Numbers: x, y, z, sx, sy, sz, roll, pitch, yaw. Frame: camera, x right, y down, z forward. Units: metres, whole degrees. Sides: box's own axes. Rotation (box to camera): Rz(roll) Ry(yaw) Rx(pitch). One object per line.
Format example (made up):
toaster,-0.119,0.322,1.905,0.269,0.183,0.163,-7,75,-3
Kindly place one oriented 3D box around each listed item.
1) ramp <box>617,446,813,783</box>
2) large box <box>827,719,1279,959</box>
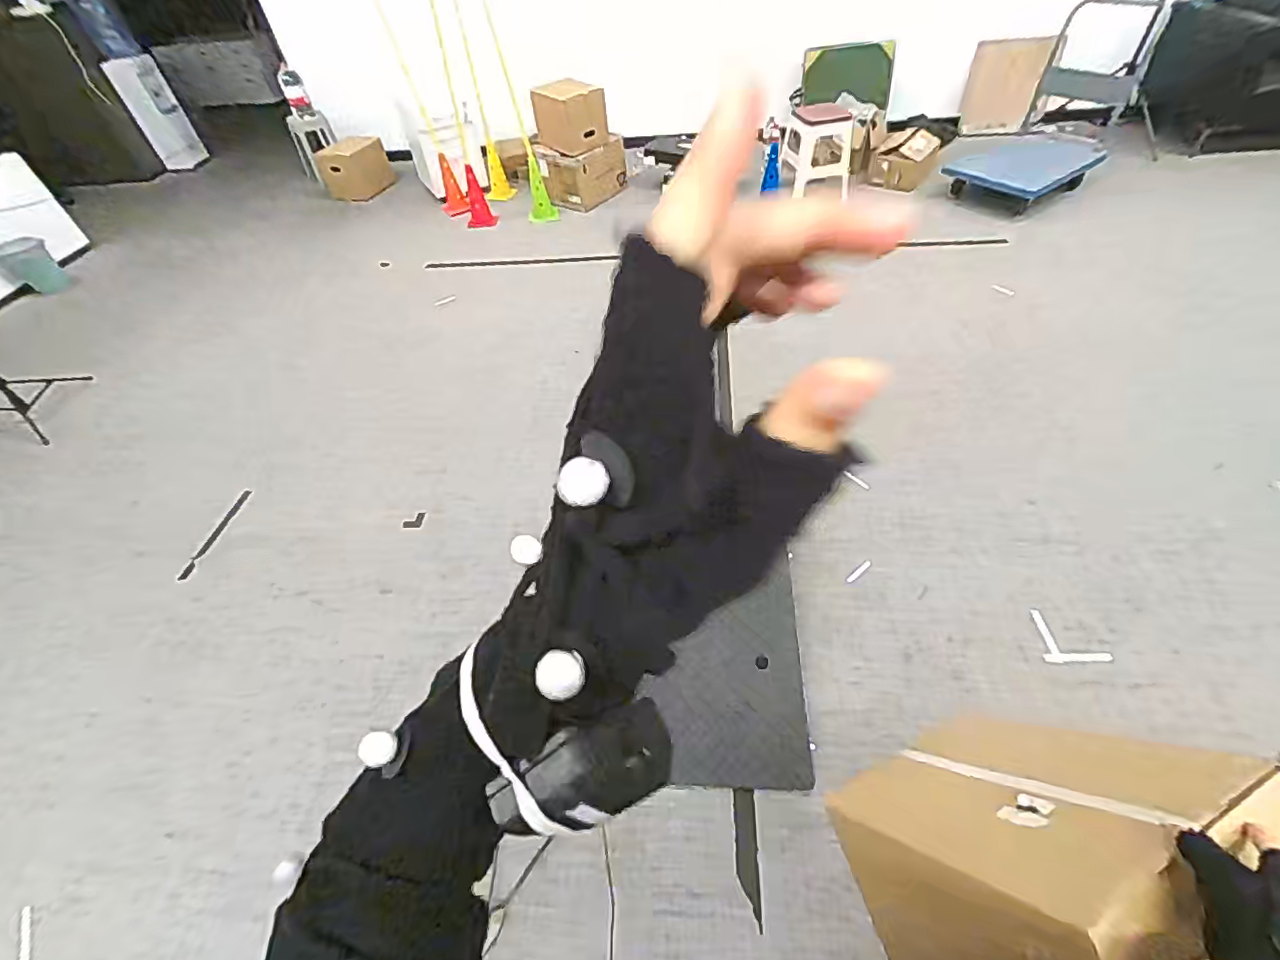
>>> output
ramp,0.200,0.316,1.591,0.509,0.206,0.991,-1,48,3
large box,0.512,0.523,0.646,0.320,0.408,0.320,-18,79,-18
